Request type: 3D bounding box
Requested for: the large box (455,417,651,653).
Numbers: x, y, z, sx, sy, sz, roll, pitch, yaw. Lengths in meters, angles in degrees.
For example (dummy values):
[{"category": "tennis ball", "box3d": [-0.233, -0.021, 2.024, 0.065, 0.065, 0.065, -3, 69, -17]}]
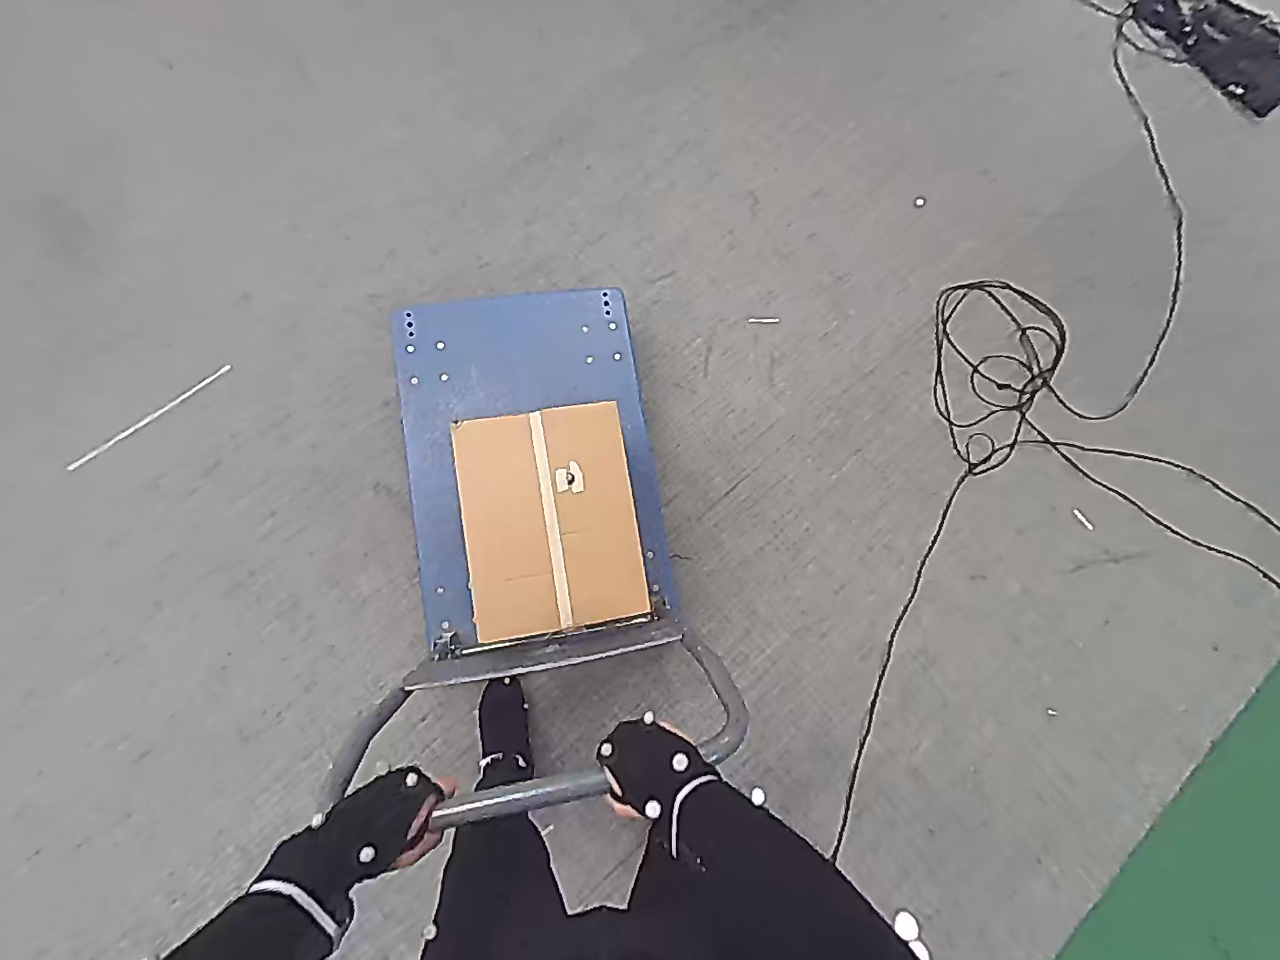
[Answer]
[{"category": "large box", "box3d": [-0.177, 0.115, 1.157, 0.320, 0.320, 0.408, -9, 84, -8]}]
